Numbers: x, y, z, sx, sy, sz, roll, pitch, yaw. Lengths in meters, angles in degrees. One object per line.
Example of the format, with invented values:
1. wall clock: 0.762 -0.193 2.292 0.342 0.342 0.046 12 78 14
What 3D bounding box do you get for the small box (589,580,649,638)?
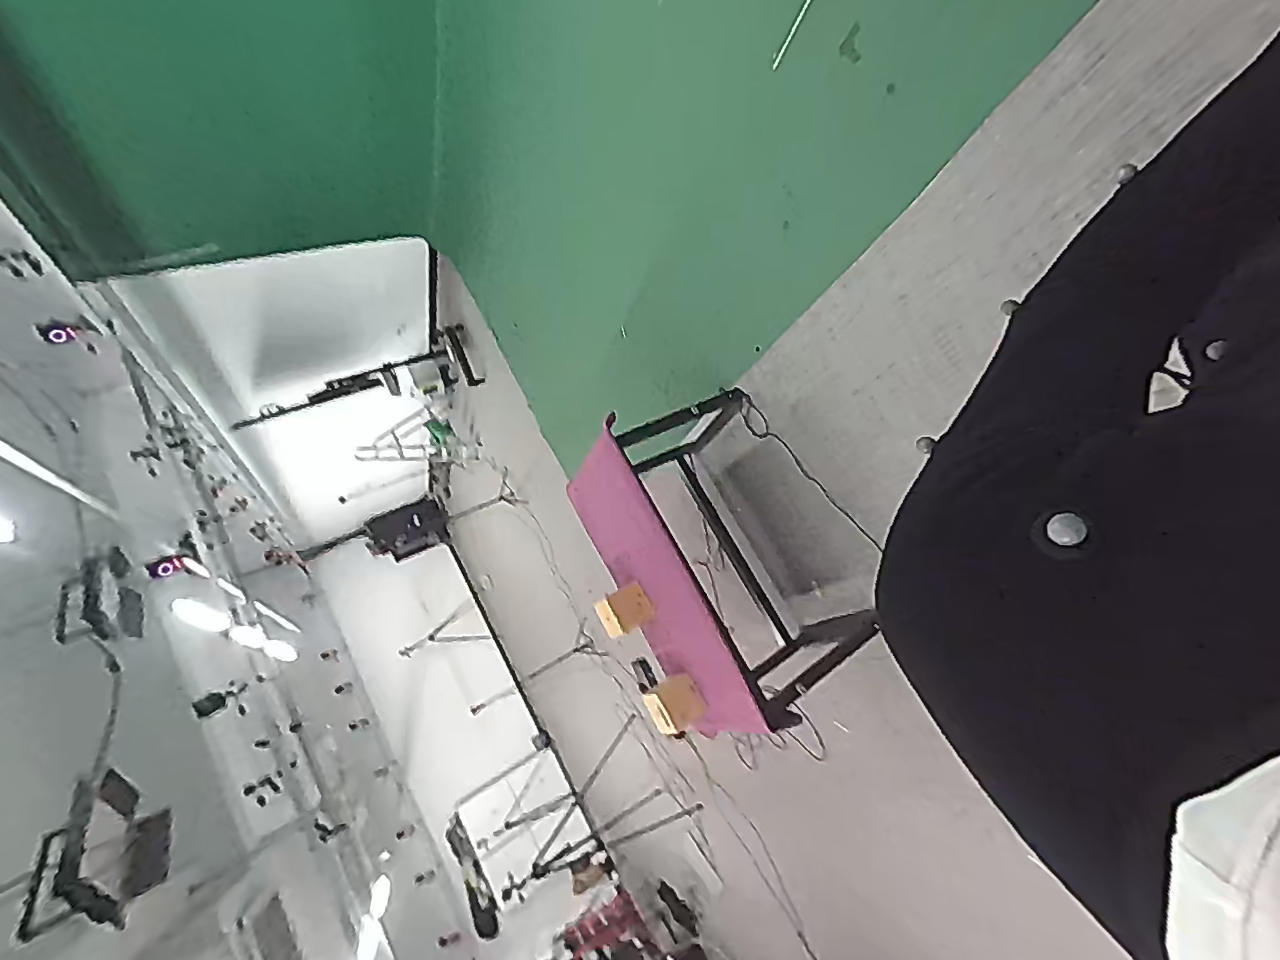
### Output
1. small box: -0.088 0.545 2.285 0.168 0.176 0.179 60 150 11
